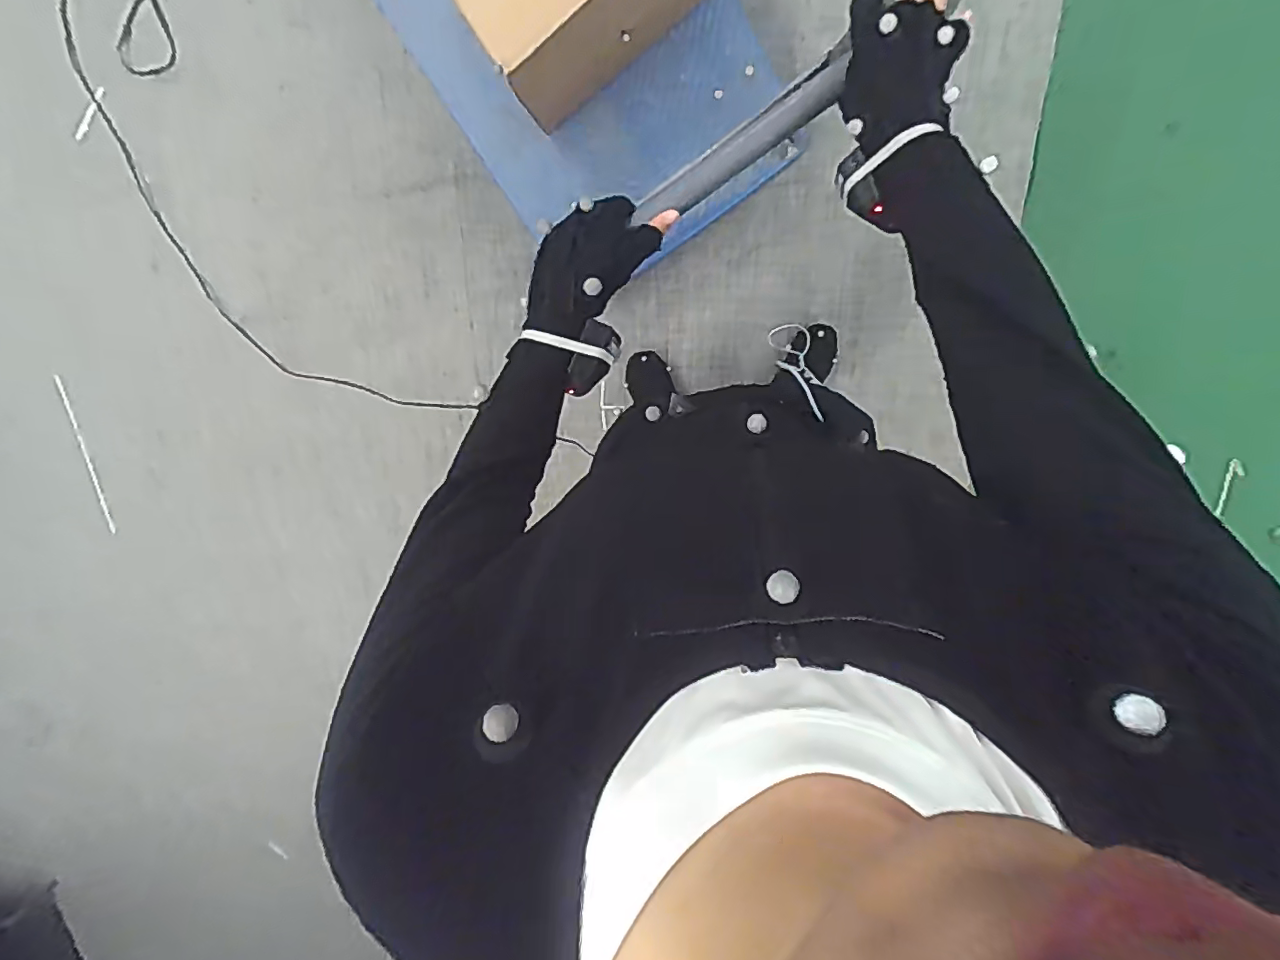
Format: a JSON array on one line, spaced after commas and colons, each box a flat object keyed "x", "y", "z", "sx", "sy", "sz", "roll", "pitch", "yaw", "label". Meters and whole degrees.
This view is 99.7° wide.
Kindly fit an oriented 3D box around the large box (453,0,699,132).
[{"x": -0.118, "y": -0.890, "z": 0.897, "sx": 0.408, "sy": 0.320, "sz": 0.320, "roll": -34, "pitch": 102, "yaw": 14, "label": "large box"}]
